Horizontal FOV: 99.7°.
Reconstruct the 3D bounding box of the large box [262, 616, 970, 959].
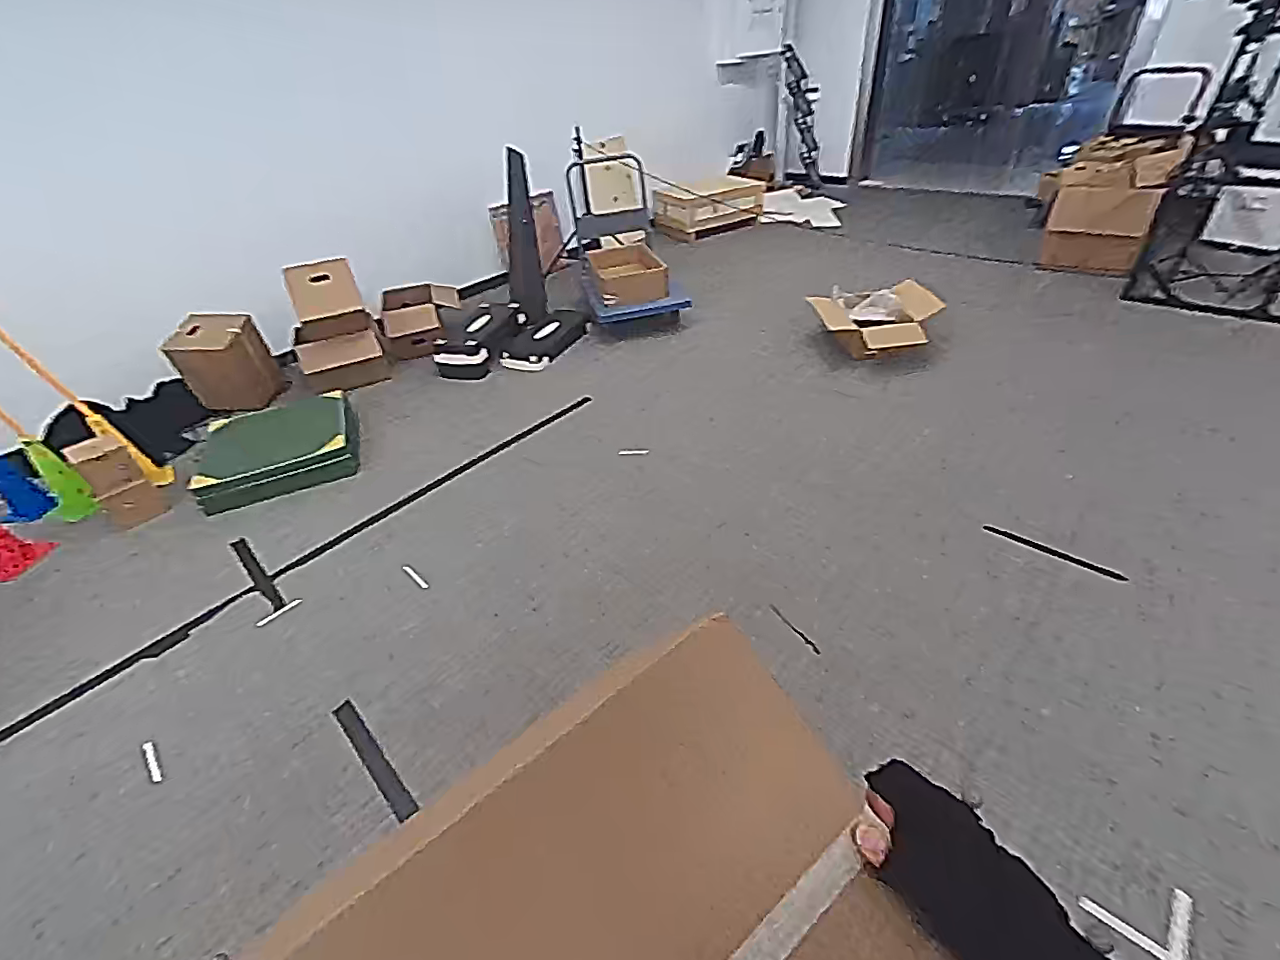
[{"bbox_3d":[-0.045,0.368,0.406,0.408,0.320,0.320,-32,78,-23],"label":"large box"}]
